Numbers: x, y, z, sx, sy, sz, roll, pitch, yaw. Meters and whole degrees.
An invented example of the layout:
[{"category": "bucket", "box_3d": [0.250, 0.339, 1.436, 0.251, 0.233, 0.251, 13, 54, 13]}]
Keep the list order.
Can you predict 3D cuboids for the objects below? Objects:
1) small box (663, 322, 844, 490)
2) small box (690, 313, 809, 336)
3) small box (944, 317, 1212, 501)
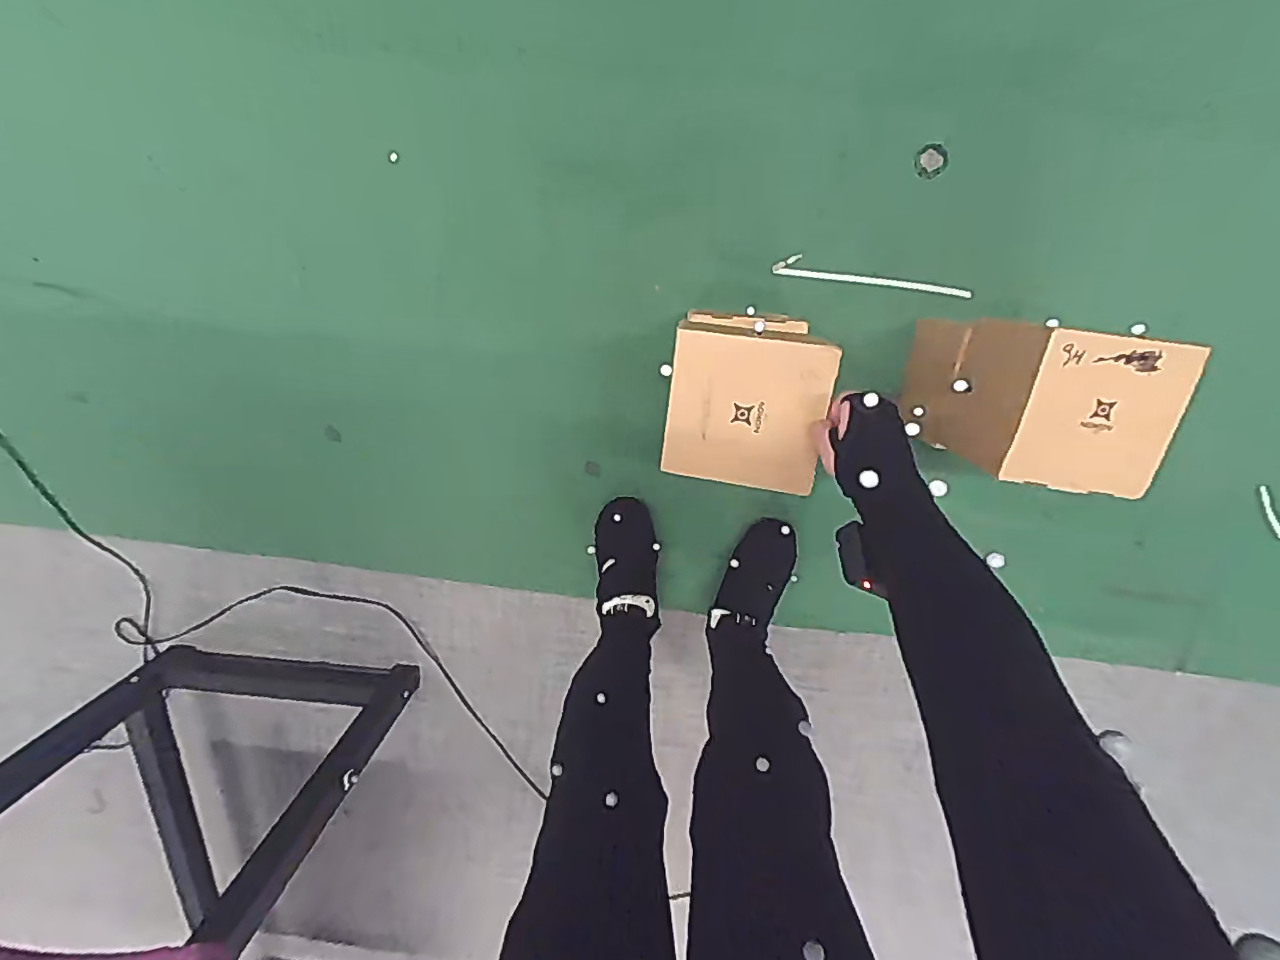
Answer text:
[{"category": "small box", "box_3d": [0.127, -0.101, 0.673, 0.179, 0.176, 0.168, 8, 110, 3]}, {"category": "small box", "box_3d": [0.154, -0.166, 0.849, 0.168, 0.176, 0.179, 5, 108, 4]}, {"category": "small box", "box_3d": [0.510, -0.095, 0.667, 0.168, 0.176, 0.179, 9, 111, 1]}]
